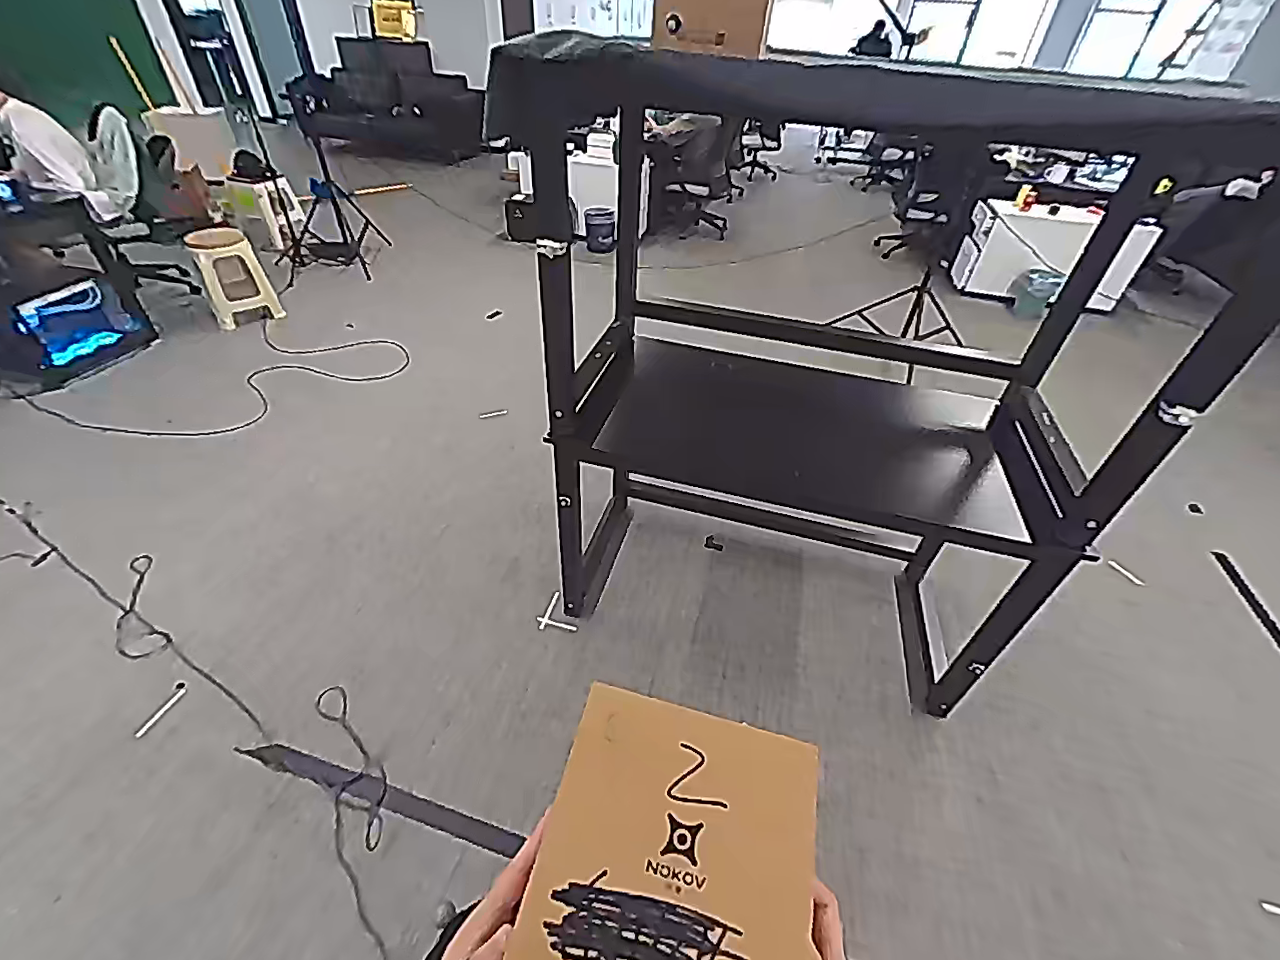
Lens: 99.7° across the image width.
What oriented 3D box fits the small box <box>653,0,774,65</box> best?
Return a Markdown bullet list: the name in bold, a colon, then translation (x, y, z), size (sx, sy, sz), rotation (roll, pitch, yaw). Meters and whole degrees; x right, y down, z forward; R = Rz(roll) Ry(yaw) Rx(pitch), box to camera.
- **small box**: translation (0.117, -0.738, 0.816), size (0.168, 0.176, 0.179), rotation (12, 39, 7)
